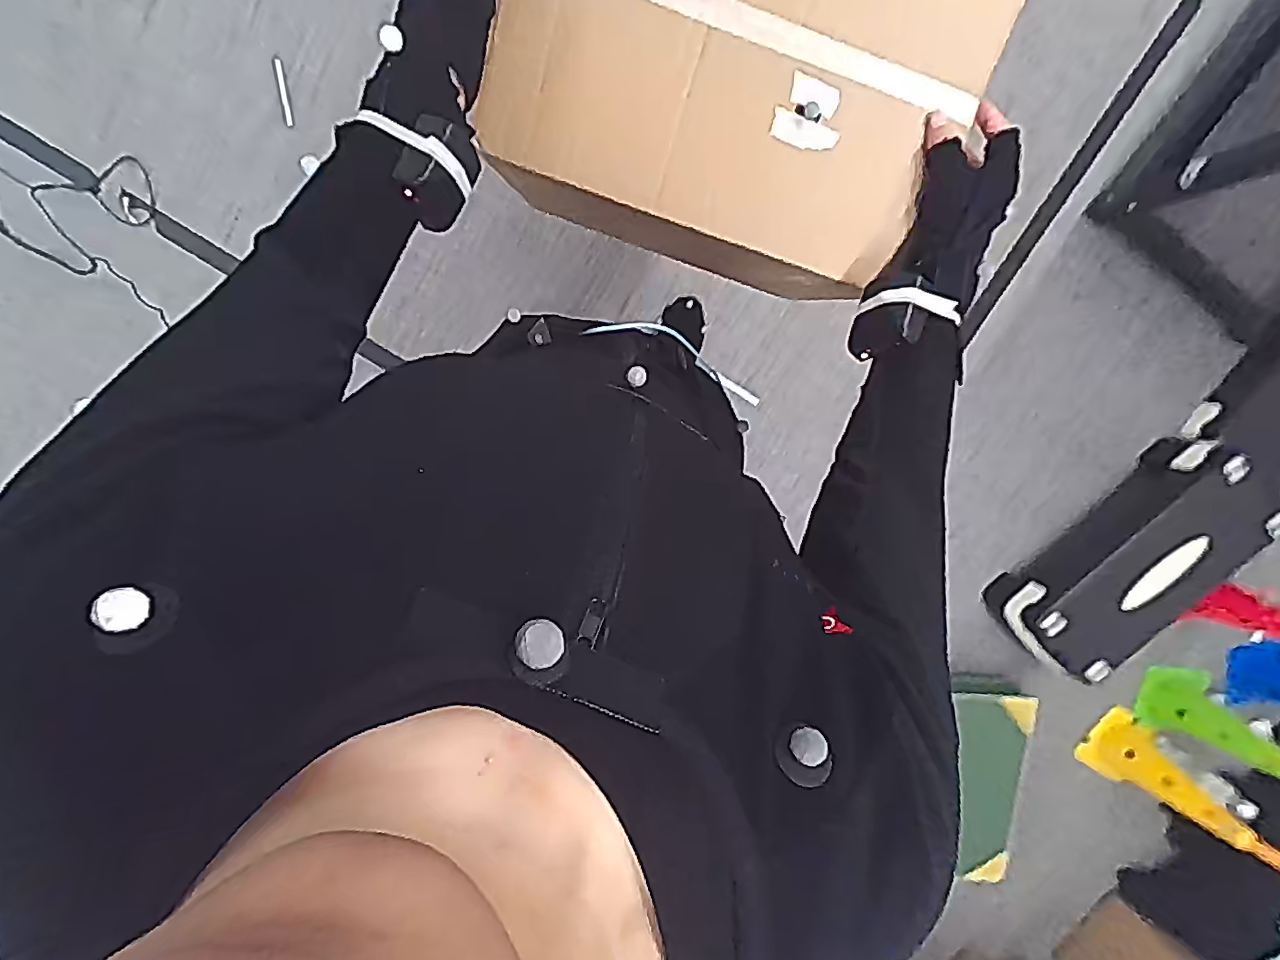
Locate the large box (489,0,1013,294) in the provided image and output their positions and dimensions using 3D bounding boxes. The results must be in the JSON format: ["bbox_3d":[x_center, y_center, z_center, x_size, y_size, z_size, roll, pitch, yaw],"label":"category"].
[{"bbox_3d":[0.090,-0.420,0.597,0.408,0.320,0.320,16,108,-7],"label":"large box"}]
